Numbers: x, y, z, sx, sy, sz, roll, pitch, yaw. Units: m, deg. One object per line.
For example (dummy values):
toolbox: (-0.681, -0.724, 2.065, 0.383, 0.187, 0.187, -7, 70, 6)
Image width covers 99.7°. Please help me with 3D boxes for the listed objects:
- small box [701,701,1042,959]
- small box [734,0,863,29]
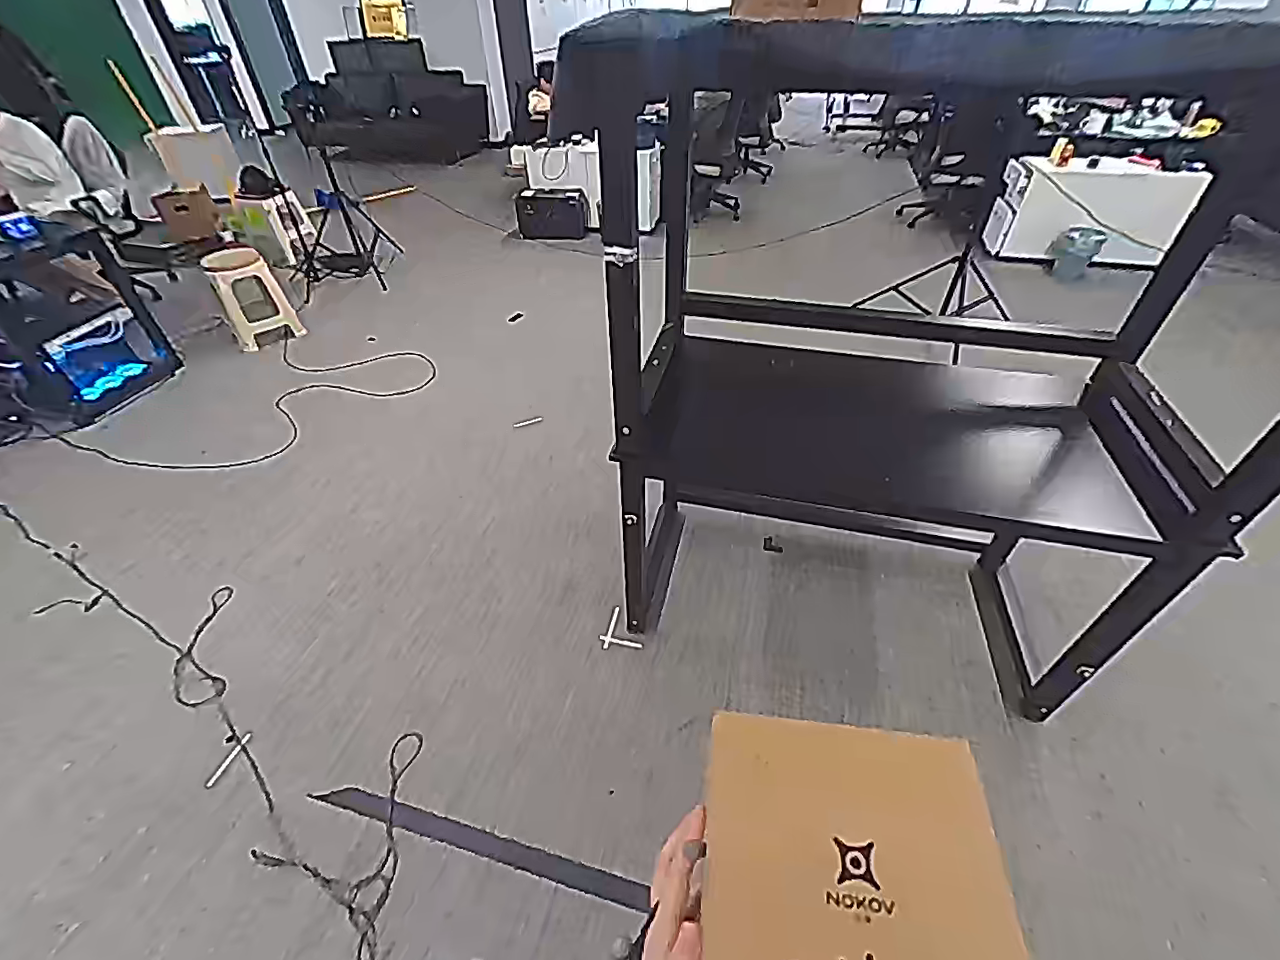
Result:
small box: (0.128, 0.275, 0.356, 0.168, 0.176, 0.179, 4, 45, 8)
small box: (0.221, -0.710, 0.711, 0.168, 0.176, 0.179, 9, 42, 10)
